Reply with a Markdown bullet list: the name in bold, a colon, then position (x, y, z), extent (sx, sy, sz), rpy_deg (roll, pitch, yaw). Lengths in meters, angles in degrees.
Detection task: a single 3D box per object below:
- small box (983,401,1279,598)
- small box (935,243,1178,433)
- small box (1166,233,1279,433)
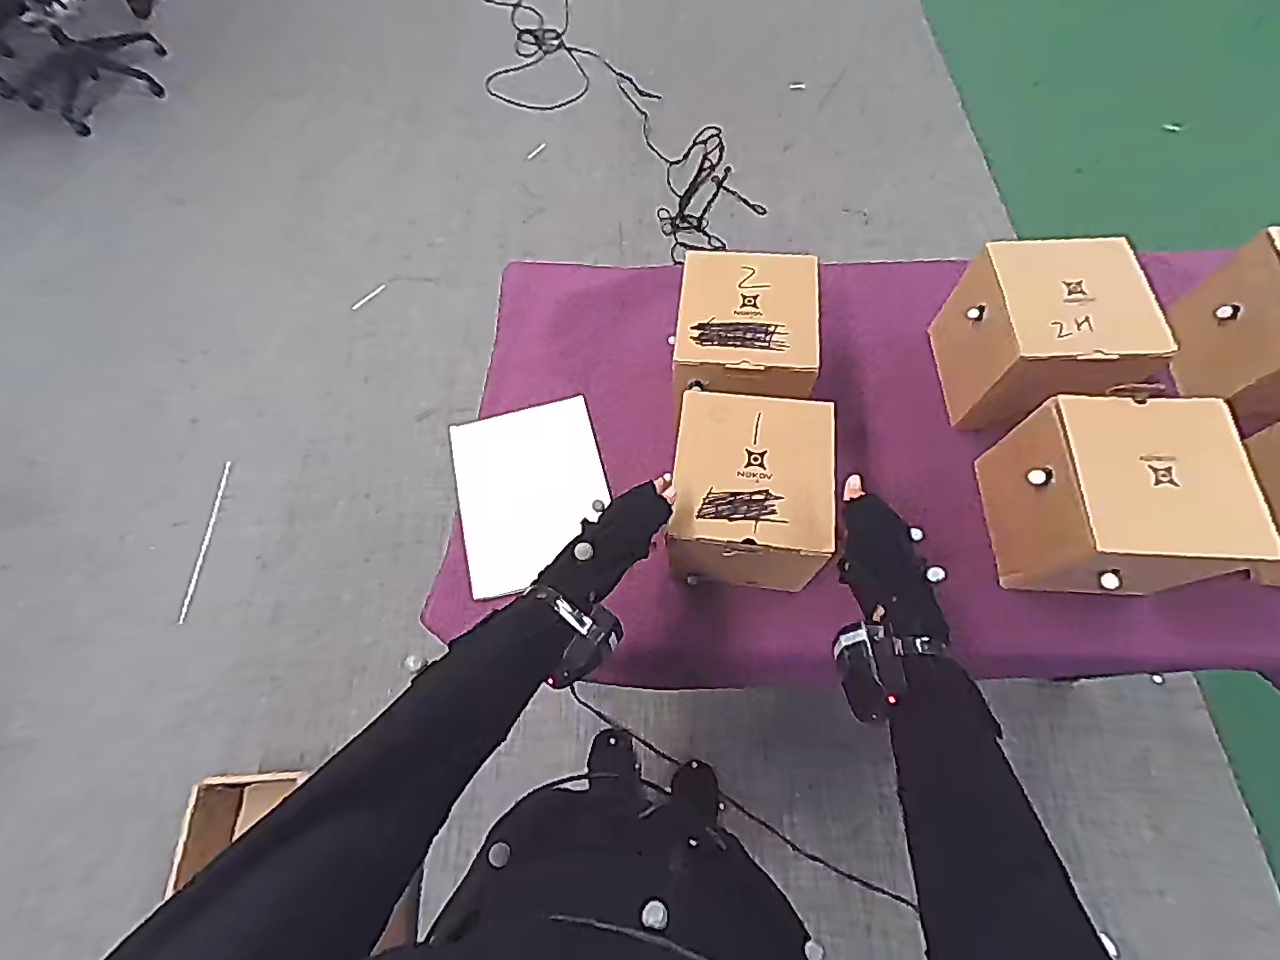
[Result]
- **small box**: position (0.521, 0.030, 0.605), extent (0.168, 0.176, 0.179), rpy_deg (2, 67, 5)
- **small box**: position (0.507, -0.175, 0.694), extent (0.168, 0.176, 0.179), rpy_deg (1, 66, 4)
- **small box**: position (0.820, -0.176, 0.675), extent (0.168, 0.176, 0.179), rpy_deg (4, 66, 6)
